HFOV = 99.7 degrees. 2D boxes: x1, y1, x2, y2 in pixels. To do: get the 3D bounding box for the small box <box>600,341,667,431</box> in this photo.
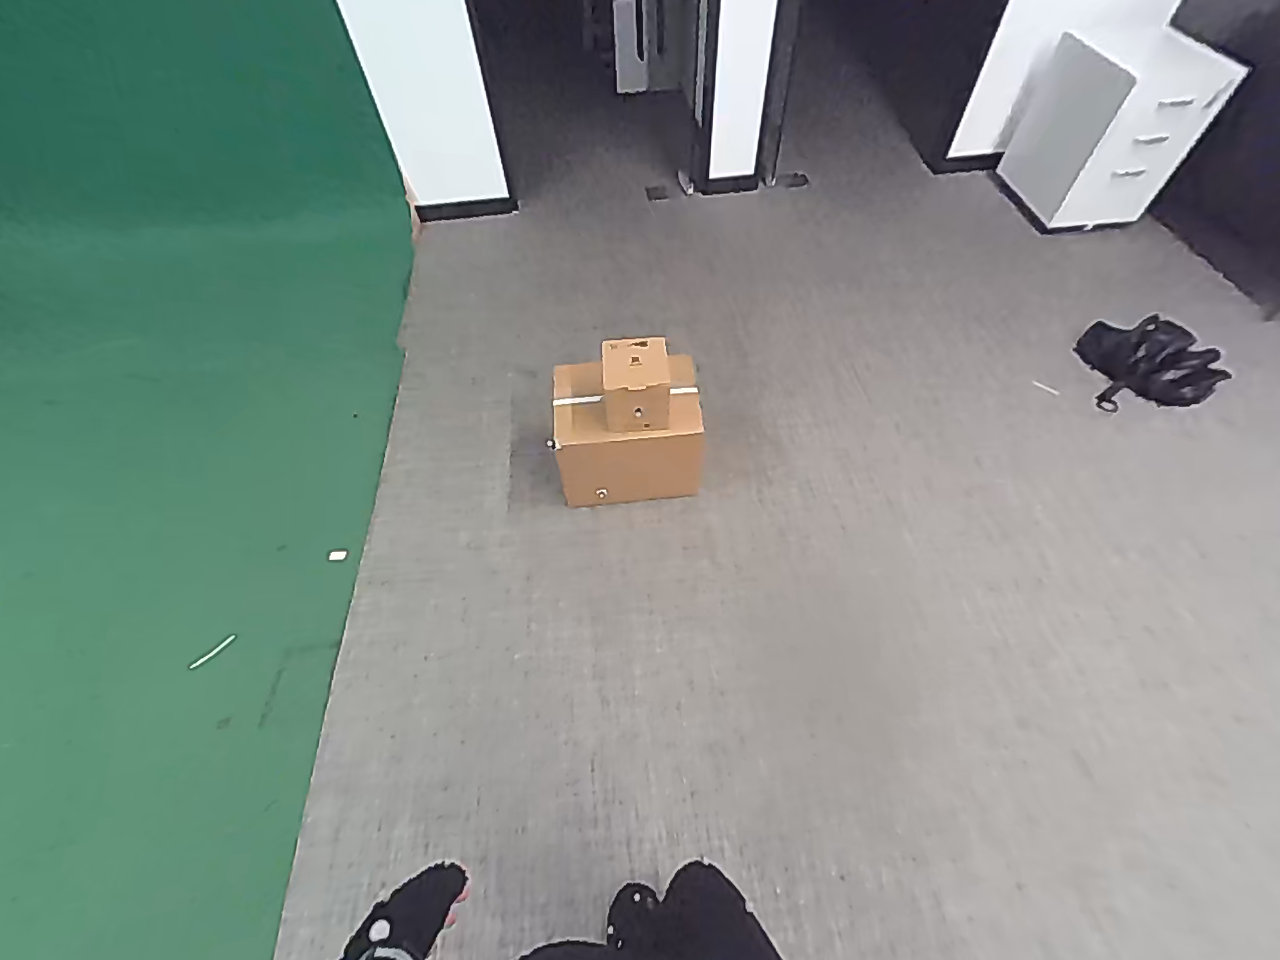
[{"bbox_3d":[-0.015,-0.240,1.421,0.168,0.176,0.179,-4,57,0],"label":"small box"}]
